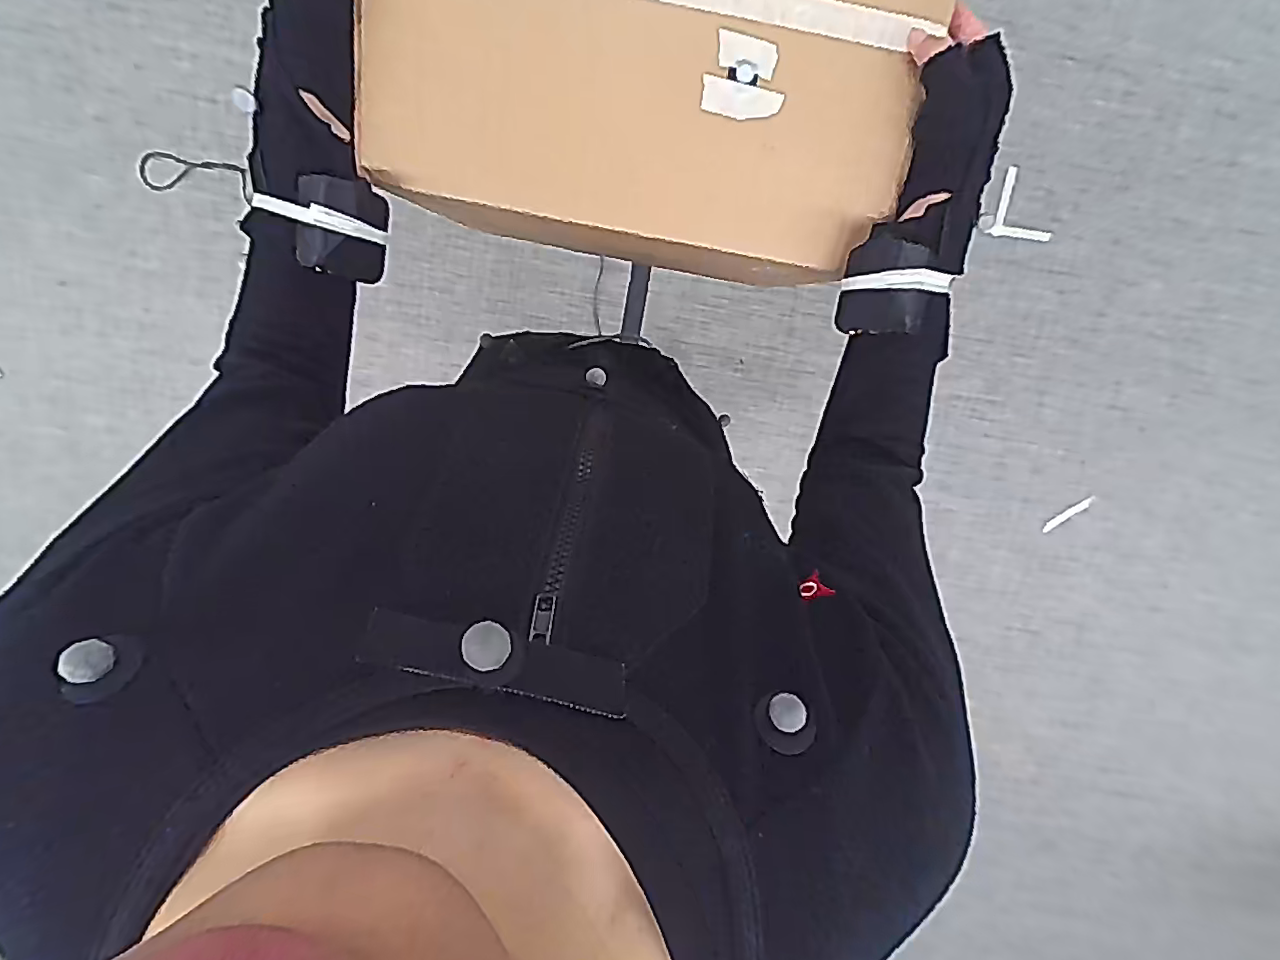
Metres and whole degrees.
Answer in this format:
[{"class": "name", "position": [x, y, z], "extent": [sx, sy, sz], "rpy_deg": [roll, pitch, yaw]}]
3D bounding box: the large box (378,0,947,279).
[{"class": "large box", "position": [0.012, -0.390, 0.521], "extent": [0.408, 0.320, 0.320], "rpy_deg": [8, 109, -6]}]
